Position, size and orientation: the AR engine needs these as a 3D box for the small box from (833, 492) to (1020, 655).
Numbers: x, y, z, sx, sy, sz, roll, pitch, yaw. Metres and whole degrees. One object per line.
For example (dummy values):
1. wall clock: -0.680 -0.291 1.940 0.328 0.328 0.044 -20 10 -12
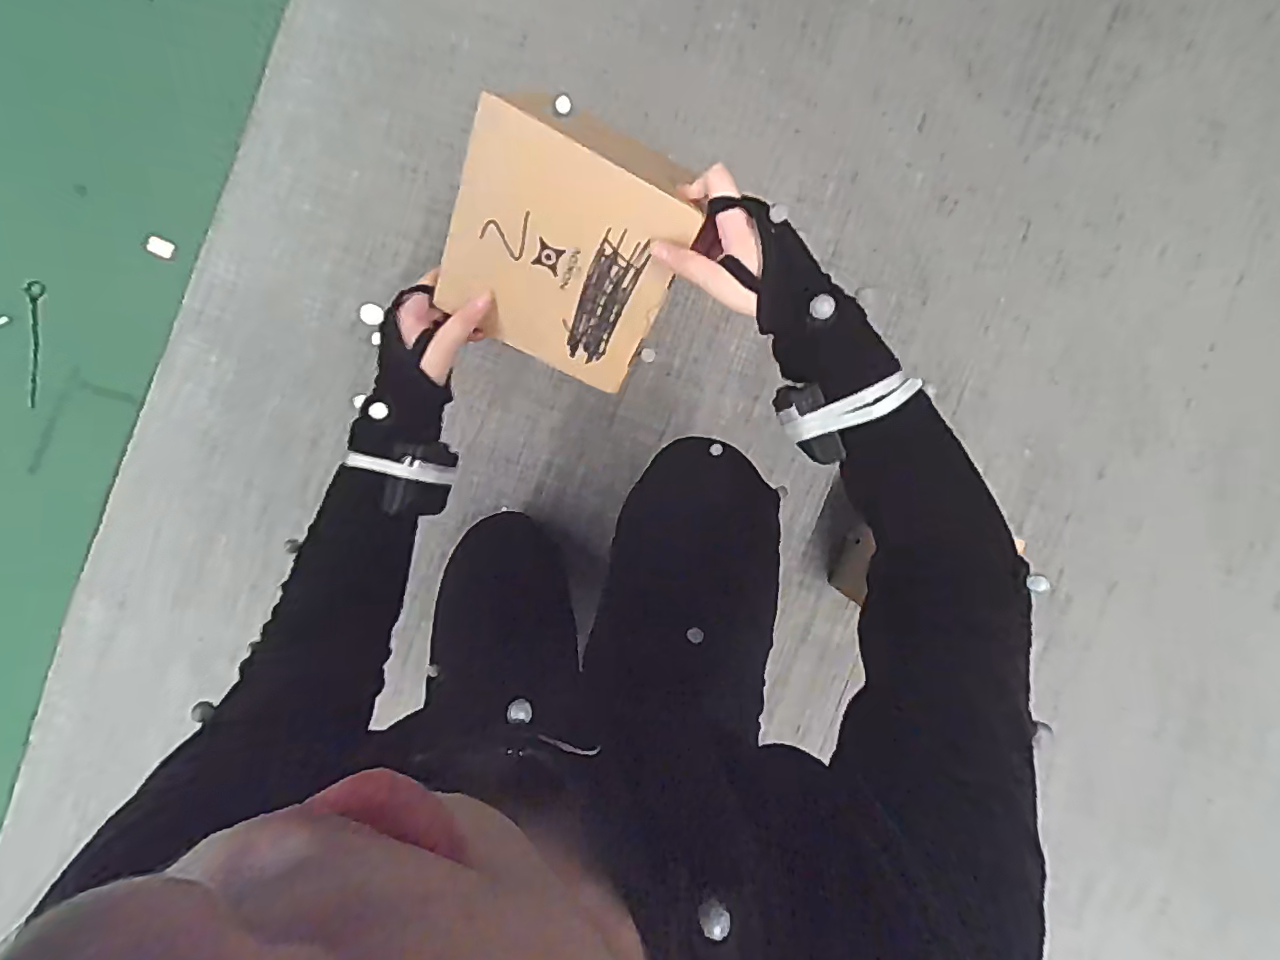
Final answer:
1. small box: 0.417 0.130 0.825 0.168 0.176 0.179 24 93 2
